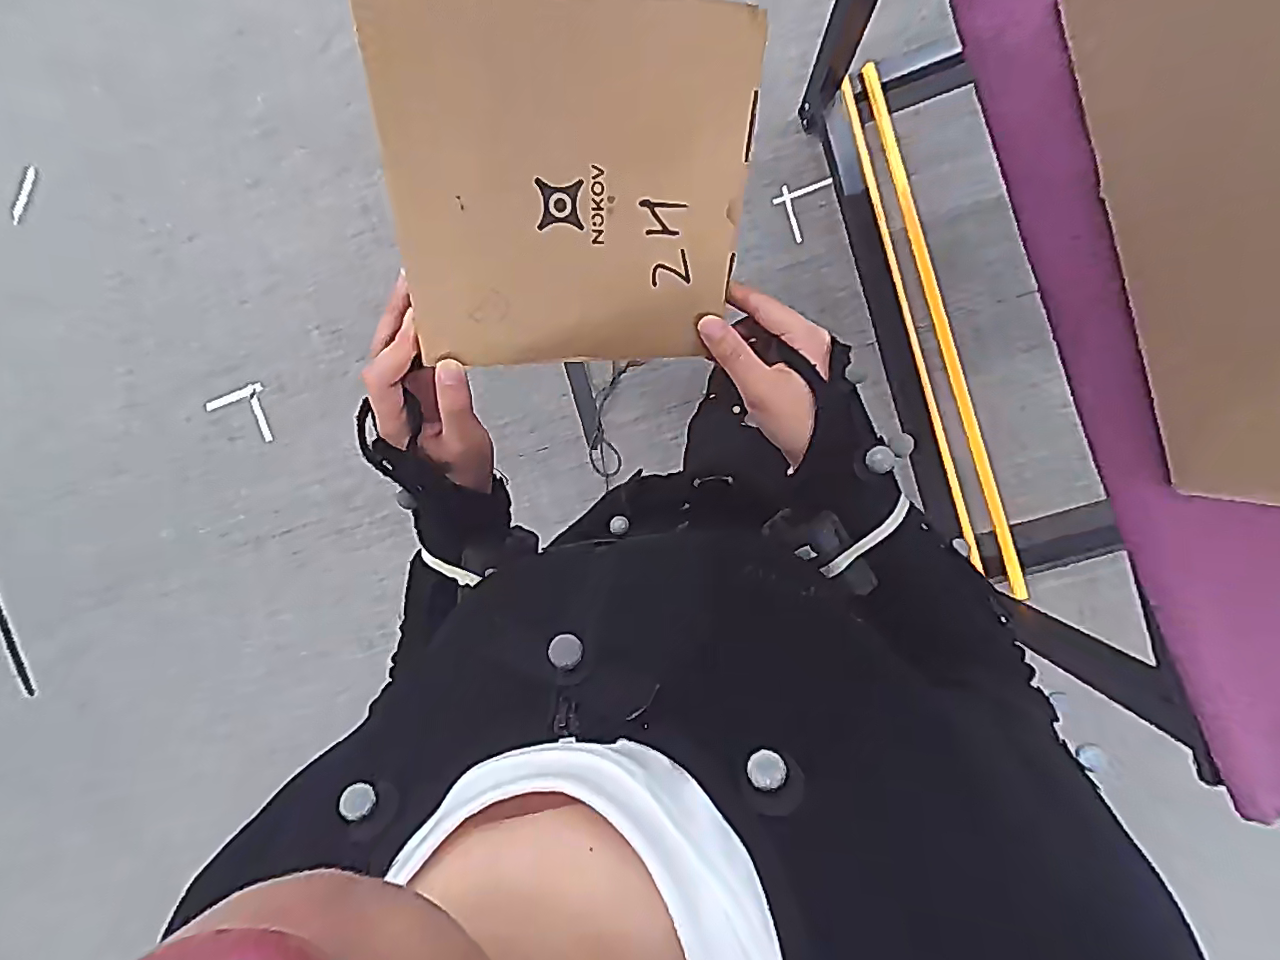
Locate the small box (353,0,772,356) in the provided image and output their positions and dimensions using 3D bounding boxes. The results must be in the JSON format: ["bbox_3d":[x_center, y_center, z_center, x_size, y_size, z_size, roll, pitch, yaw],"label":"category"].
[{"bbox_3d":[-0.047,-0.187,0.329,0.179,0.176,0.168,-5,128,-12],"label":"small box"}]
